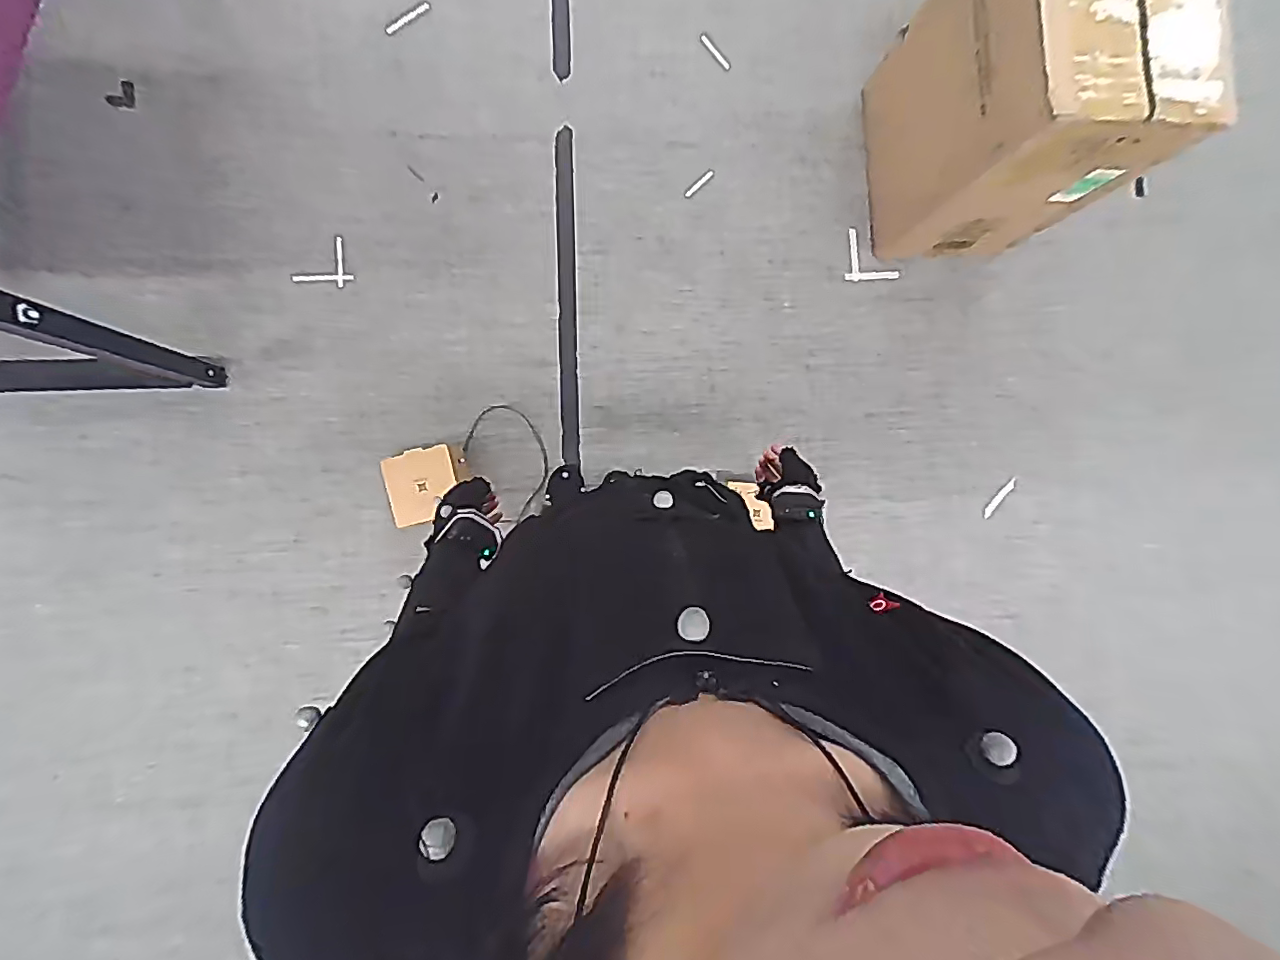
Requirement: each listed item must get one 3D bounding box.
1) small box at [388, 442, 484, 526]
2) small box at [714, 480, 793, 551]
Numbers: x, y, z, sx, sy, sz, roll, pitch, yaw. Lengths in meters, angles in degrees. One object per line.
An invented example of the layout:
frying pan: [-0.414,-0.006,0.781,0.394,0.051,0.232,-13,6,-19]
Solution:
small box: [-0.518,0.011,1.392,0.168,0.176,0.179,-15,91,-3]
small box: [0.304,0.093,1.483,0.168,0.176,0.179,4,89,-6]
